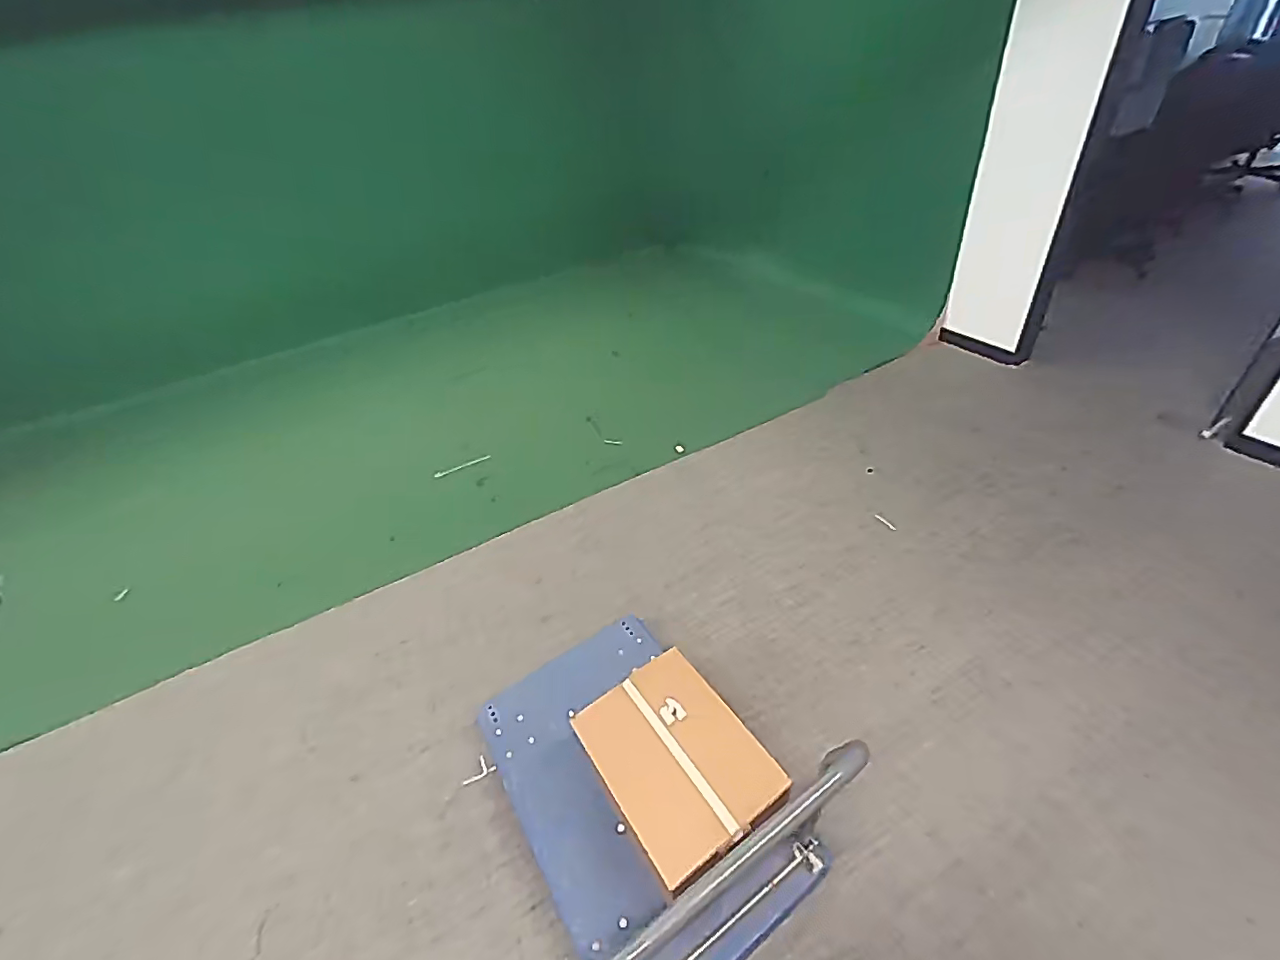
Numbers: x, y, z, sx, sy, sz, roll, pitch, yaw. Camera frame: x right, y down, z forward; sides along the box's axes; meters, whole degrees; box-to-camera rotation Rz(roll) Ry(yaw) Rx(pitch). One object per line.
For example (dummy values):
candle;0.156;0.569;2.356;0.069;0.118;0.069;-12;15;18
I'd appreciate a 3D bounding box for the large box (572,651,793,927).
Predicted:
large box;0.099;0.698;1.259;0.320;0.320;0.408;-27;42;-22
